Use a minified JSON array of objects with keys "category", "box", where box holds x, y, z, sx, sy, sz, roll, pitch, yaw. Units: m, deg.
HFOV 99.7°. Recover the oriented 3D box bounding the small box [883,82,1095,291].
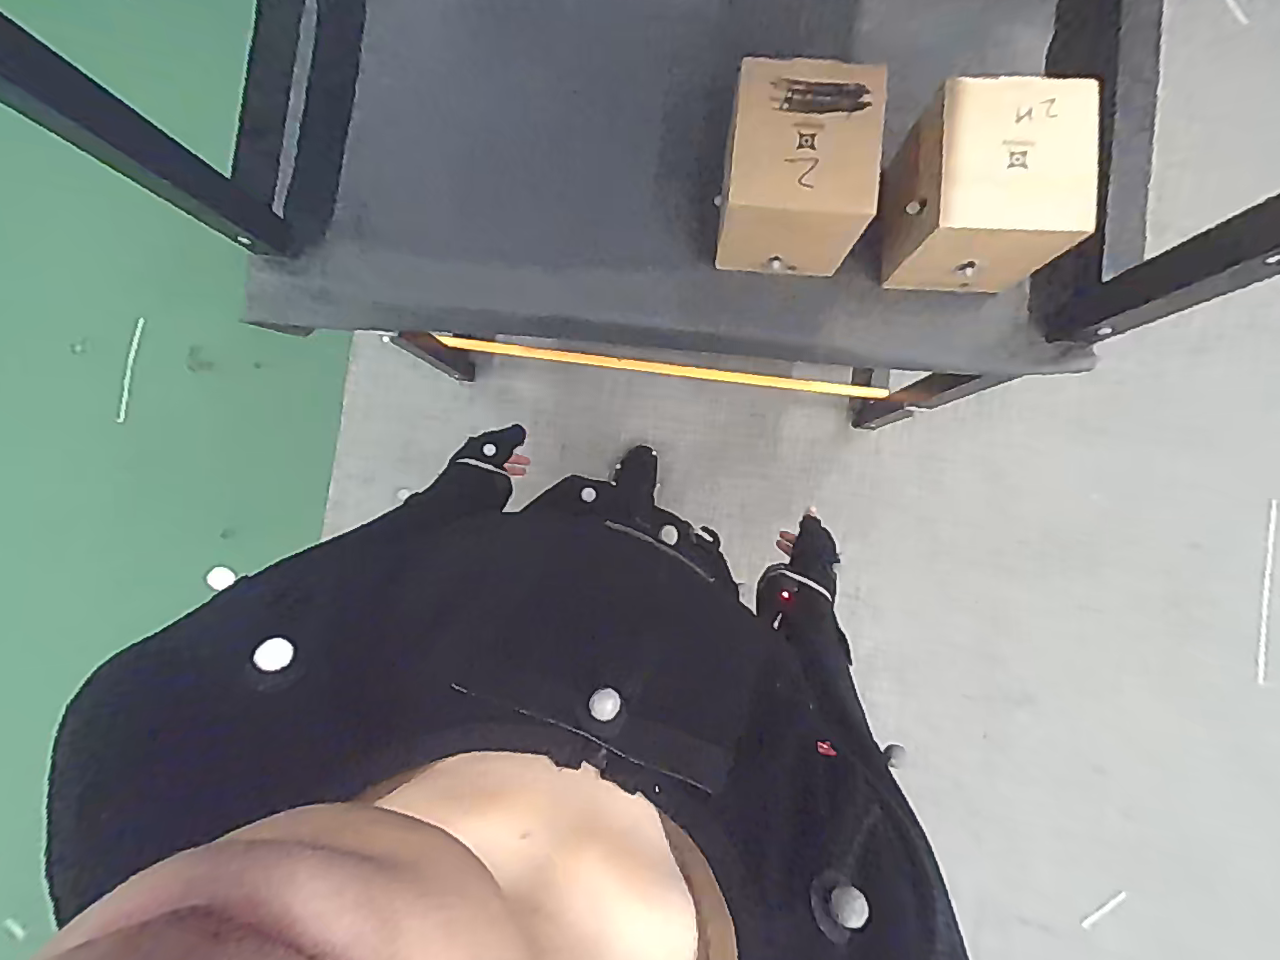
[{"category":"small box","box":[0.421,-0.353,0.679,0.168,0.176,0.179,3,87,3]}]
